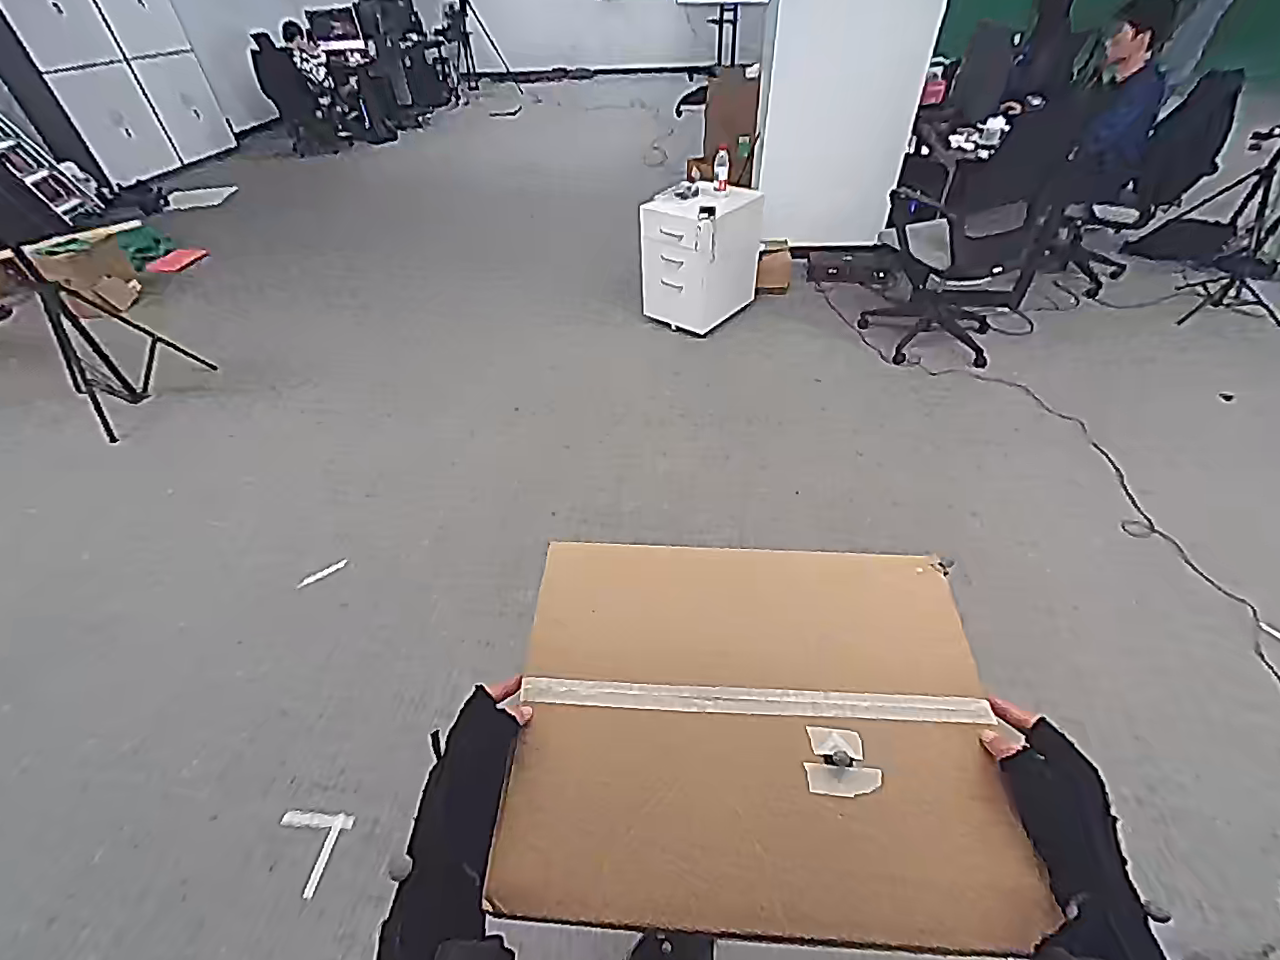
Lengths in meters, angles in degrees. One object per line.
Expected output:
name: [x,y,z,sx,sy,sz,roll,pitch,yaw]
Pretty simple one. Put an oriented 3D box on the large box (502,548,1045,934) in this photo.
large box: [0.101,0.291,0.600,0.408,0.320,0.320,2,51,3]
